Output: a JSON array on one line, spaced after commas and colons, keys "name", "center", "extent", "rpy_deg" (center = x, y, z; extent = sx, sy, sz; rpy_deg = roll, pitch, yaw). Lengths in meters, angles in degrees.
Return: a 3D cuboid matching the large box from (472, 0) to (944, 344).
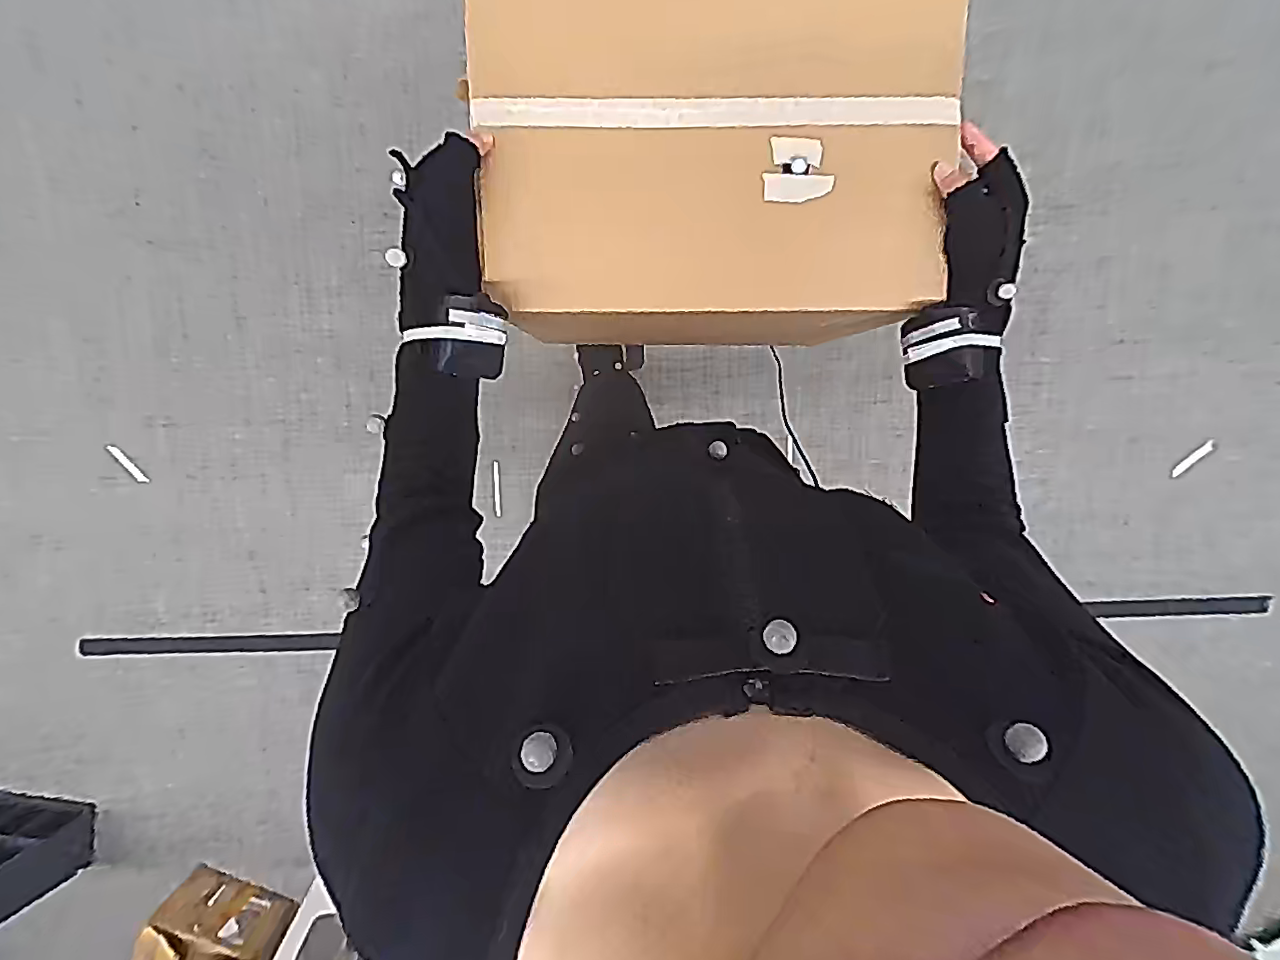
[{"name": "large box", "center": [0.055, -0.331, 0.614], "extent": [0.408, 0.320, 0.320], "rpy_deg": [-1, 99, -2]}]
